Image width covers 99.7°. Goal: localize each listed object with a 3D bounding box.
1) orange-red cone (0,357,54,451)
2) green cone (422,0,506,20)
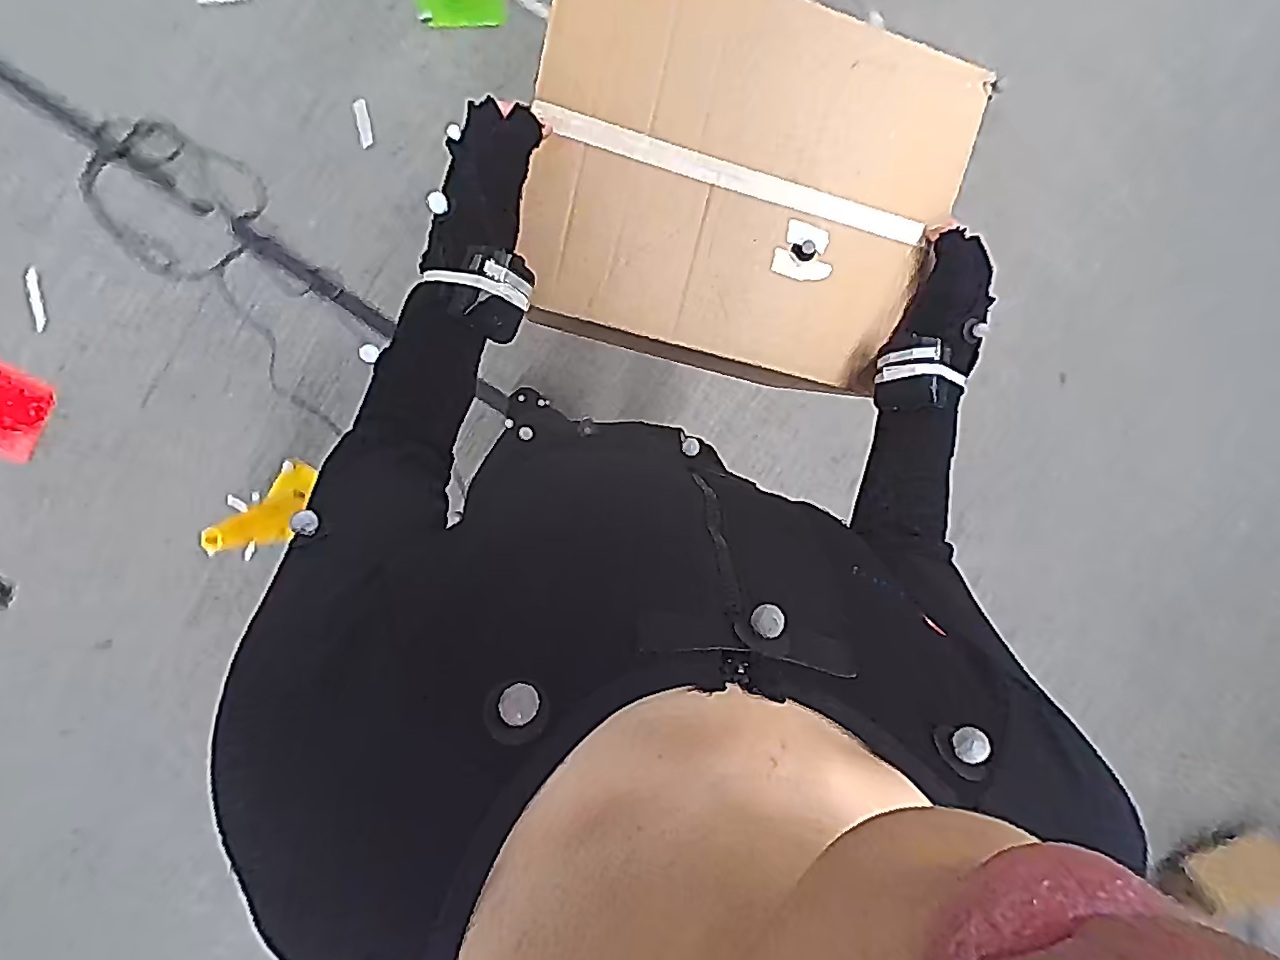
[{"bbox_3d":[-1.563,-0.169,1.166,0.199,0.360,0.198,30,95,-9],"label":"orange-red cone"},{"bbox_3d":[-0.411,-1.186,1.116,0.200,0.368,0.202,-5,96,-4],"label":"green cone"}]
